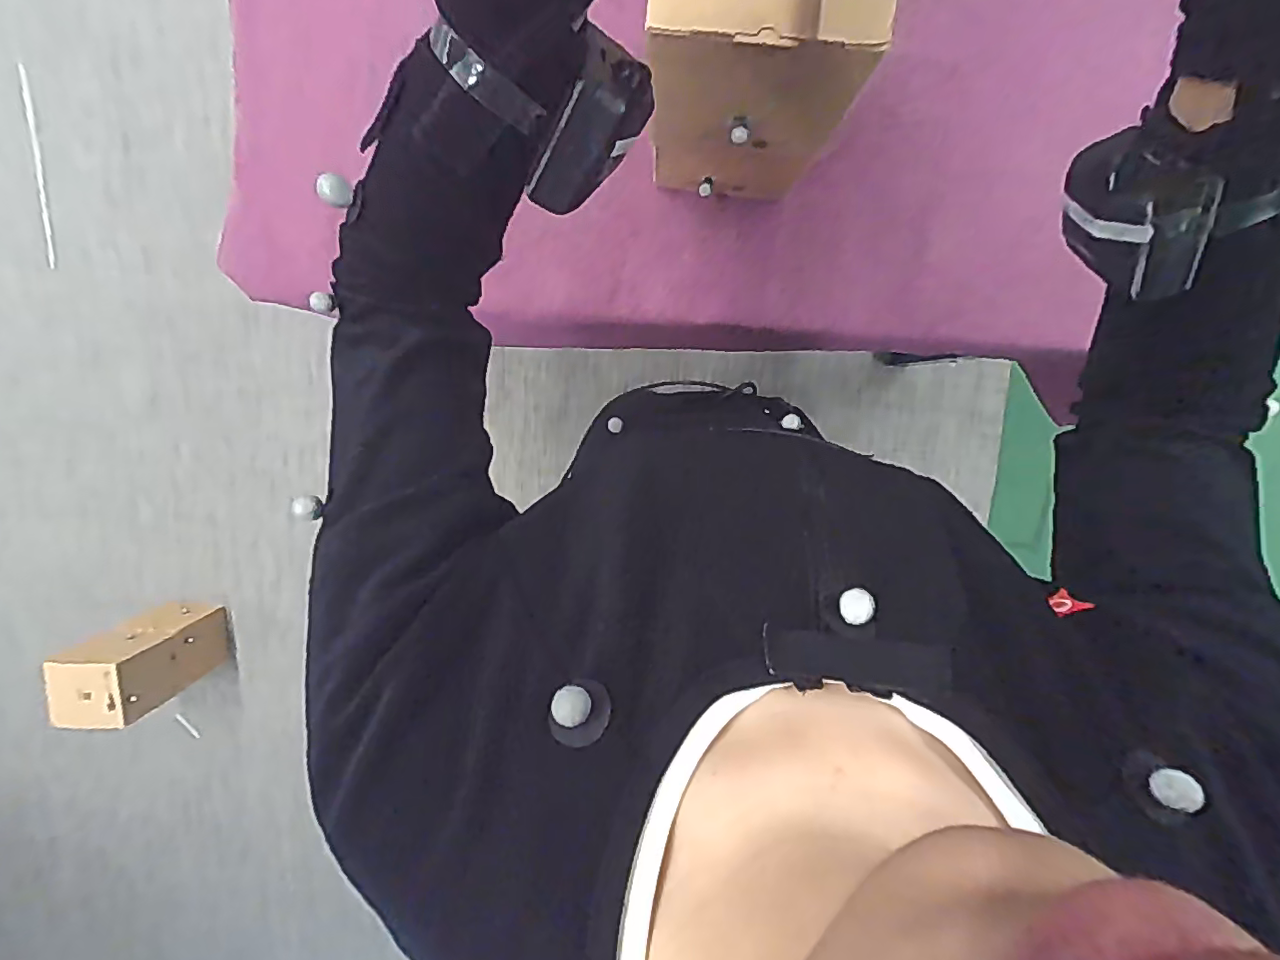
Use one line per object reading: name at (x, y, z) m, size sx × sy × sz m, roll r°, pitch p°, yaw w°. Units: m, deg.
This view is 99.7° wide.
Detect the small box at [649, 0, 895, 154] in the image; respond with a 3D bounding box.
small box at (0.098, -0.397, 0.431) m, size 0.168 × 0.176 × 0.179 m, roll 6°, pitch 99°, yaw 2°

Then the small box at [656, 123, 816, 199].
small box at (0.108, -0.437, 0.591) m, size 0.168 × 0.176 × 0.179 m, roll 7°, pitch 99°, yaw 1°

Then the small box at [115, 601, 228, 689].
small box at (-1.281, 0.451, 1.493) m, size 0.168 × 0.176 × 0.179 m, roll 2°, pitch 99°, yaw 1°

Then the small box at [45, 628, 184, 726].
small box at (-1.283, 0.477, 1.331) m, size 0.179 × 0.176 × 0.168 m, roll 2°, pitch 99°, yaw 2°
